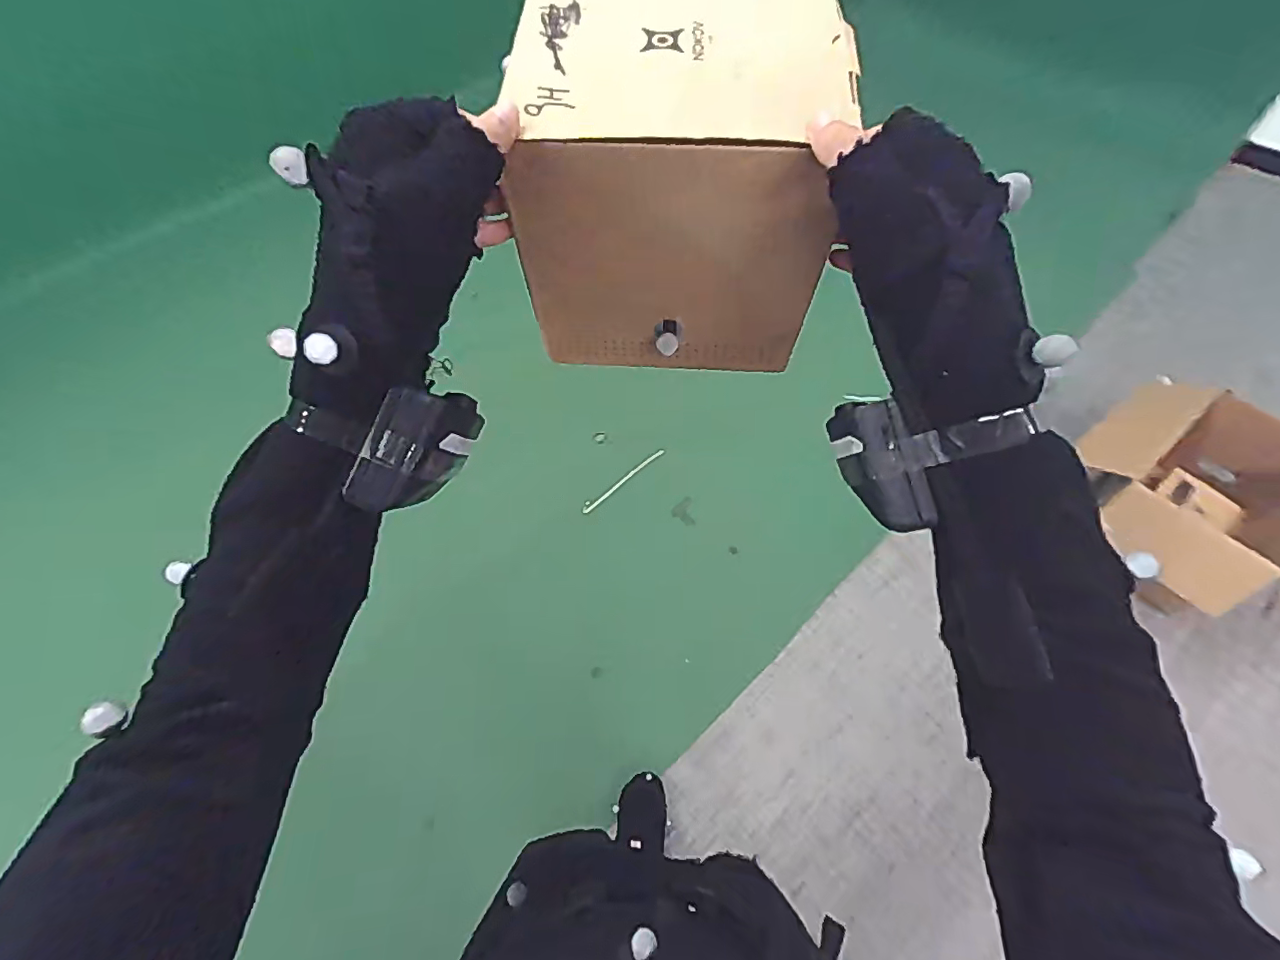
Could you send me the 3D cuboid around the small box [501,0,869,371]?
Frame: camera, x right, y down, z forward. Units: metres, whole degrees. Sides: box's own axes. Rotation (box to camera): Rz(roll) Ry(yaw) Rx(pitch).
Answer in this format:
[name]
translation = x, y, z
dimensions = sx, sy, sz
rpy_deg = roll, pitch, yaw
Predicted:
[small box]
translation = 0.026, -0.189, 0.358
dimensions = 0.179, 0.176, 0.168
rpy_deg = 4, 63, 2
